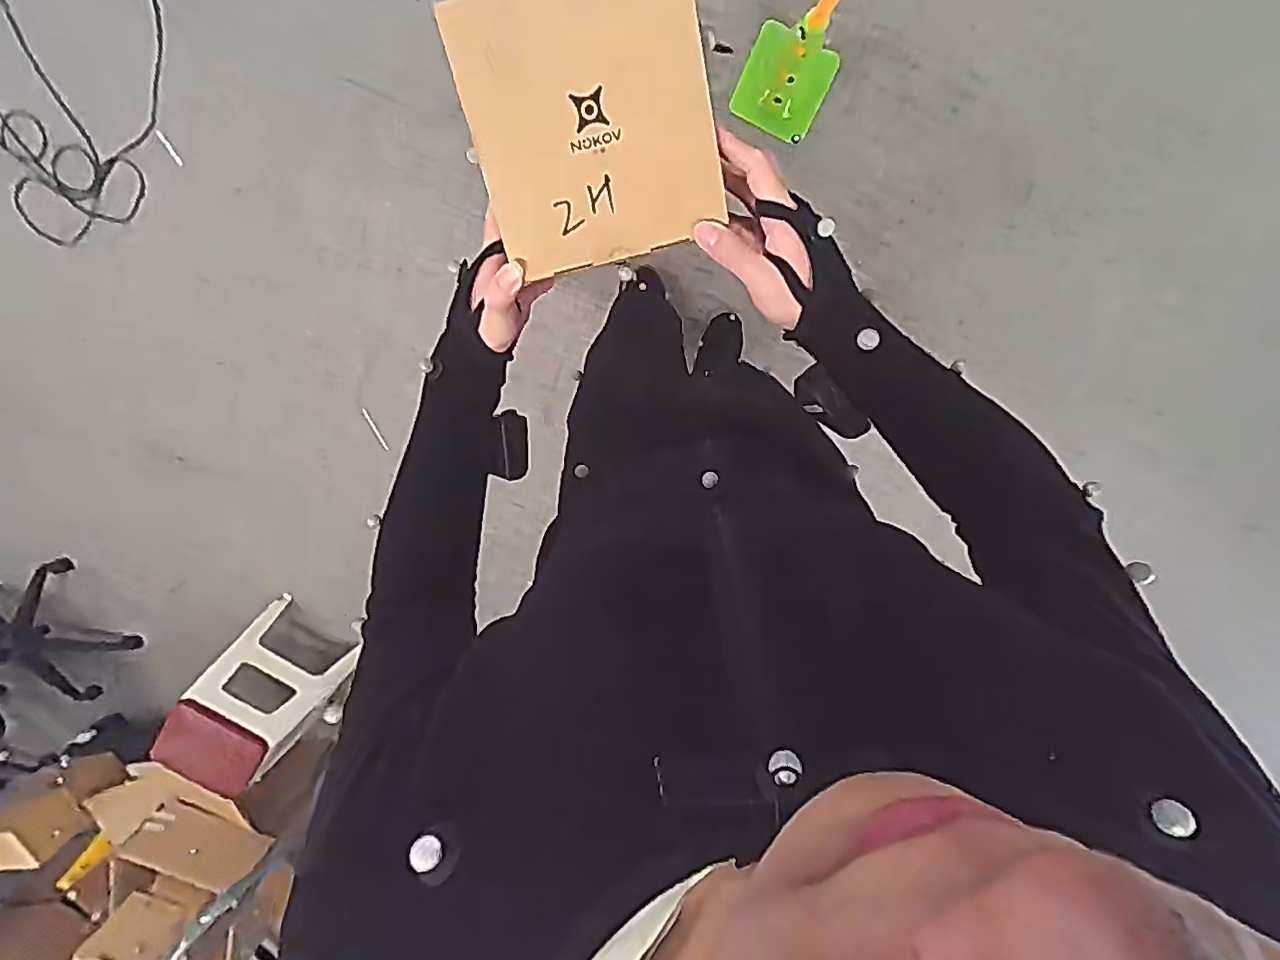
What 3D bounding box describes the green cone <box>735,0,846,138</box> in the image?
[{"bbox_3d":[0.331,-0.877,1.093,0.202,0.368,0.200,25,110,-3],"label":"green cone"}]
